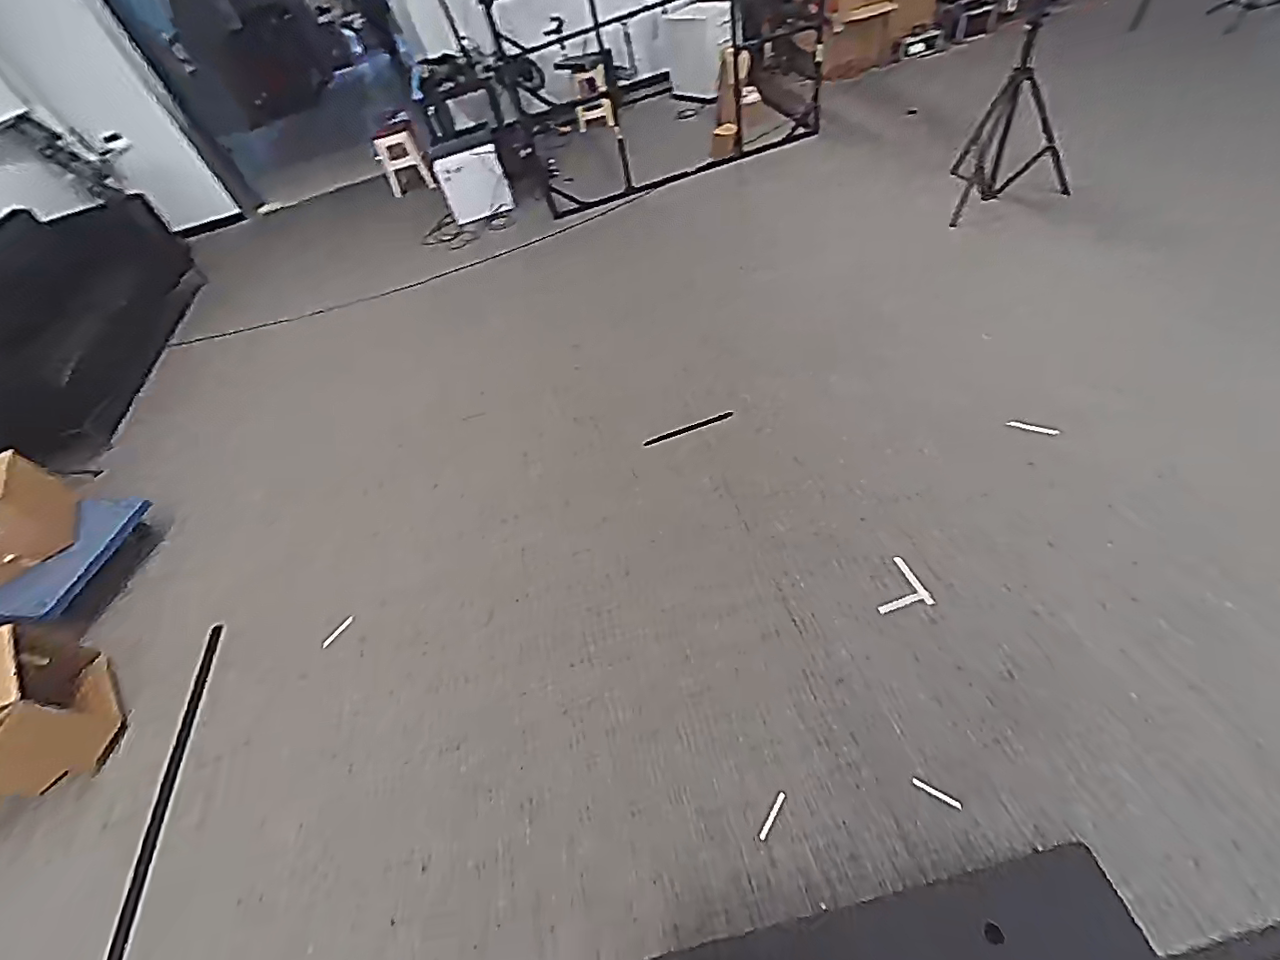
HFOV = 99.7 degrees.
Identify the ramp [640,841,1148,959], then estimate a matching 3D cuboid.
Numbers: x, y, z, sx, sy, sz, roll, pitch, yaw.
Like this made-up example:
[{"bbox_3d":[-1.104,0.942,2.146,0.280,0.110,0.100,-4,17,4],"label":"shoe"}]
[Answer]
[{"bbox_3d":[0.524,1.054,0.985,0.991,0.206,0.509,-17,48,-1],"label":"ramp"}]
